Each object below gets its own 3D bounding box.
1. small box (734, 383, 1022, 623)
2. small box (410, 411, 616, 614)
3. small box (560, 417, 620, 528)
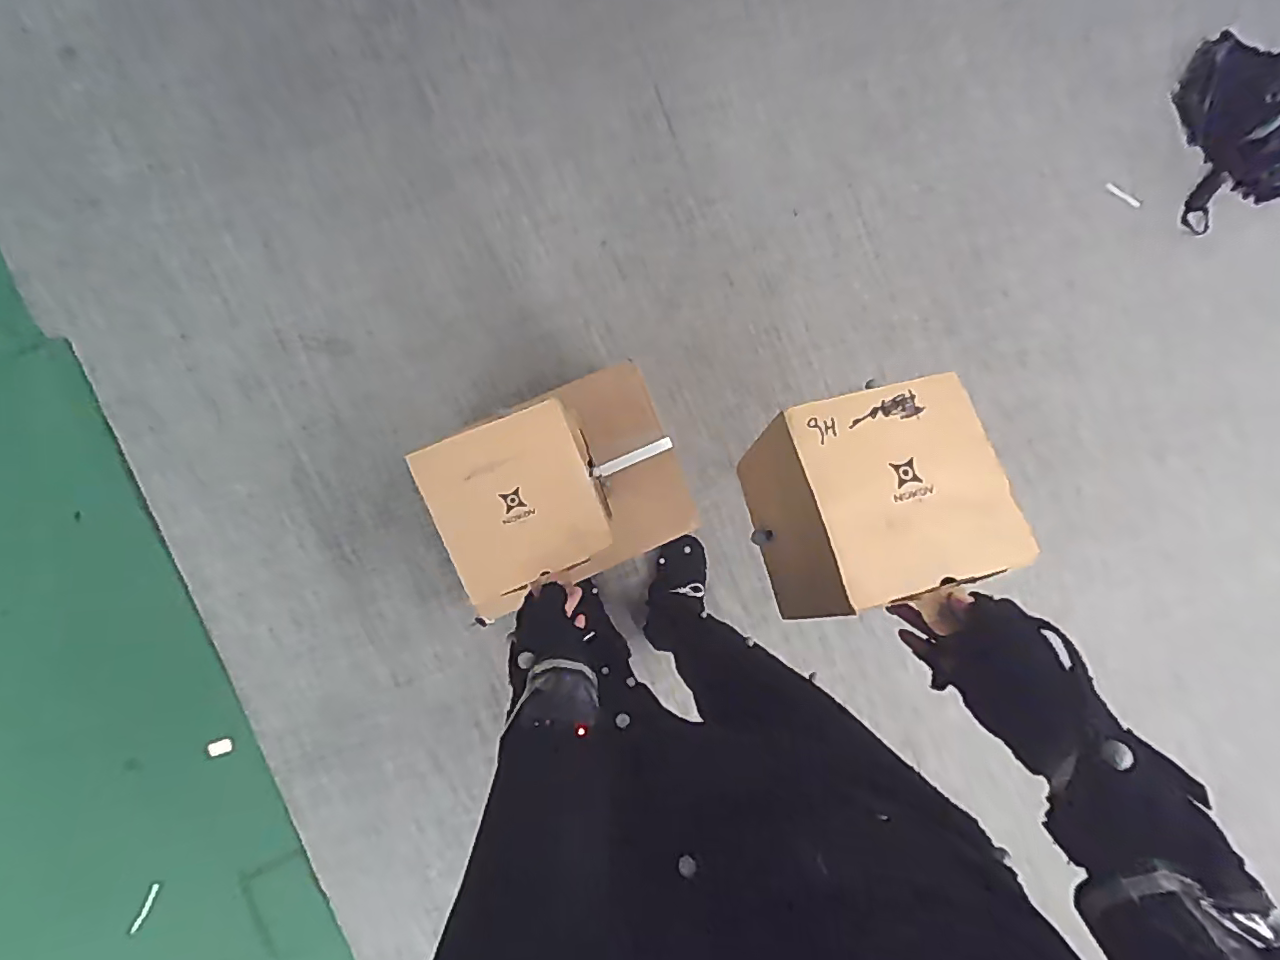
[{"bbox_3d":[0.207,0.032,0.525,0.168,0.176,0.179,-13,77,-8],"label":"small box"},{"bbox_3d":[-0.139,0.026,0.649,0.168,0.176,0.179,-24,98,-4],"label":"small box"},{"bbox_3d":[-0.147,0.009,0.810,0.179,0.176,0.168,-24,99,-4],"label":"small box"}]
